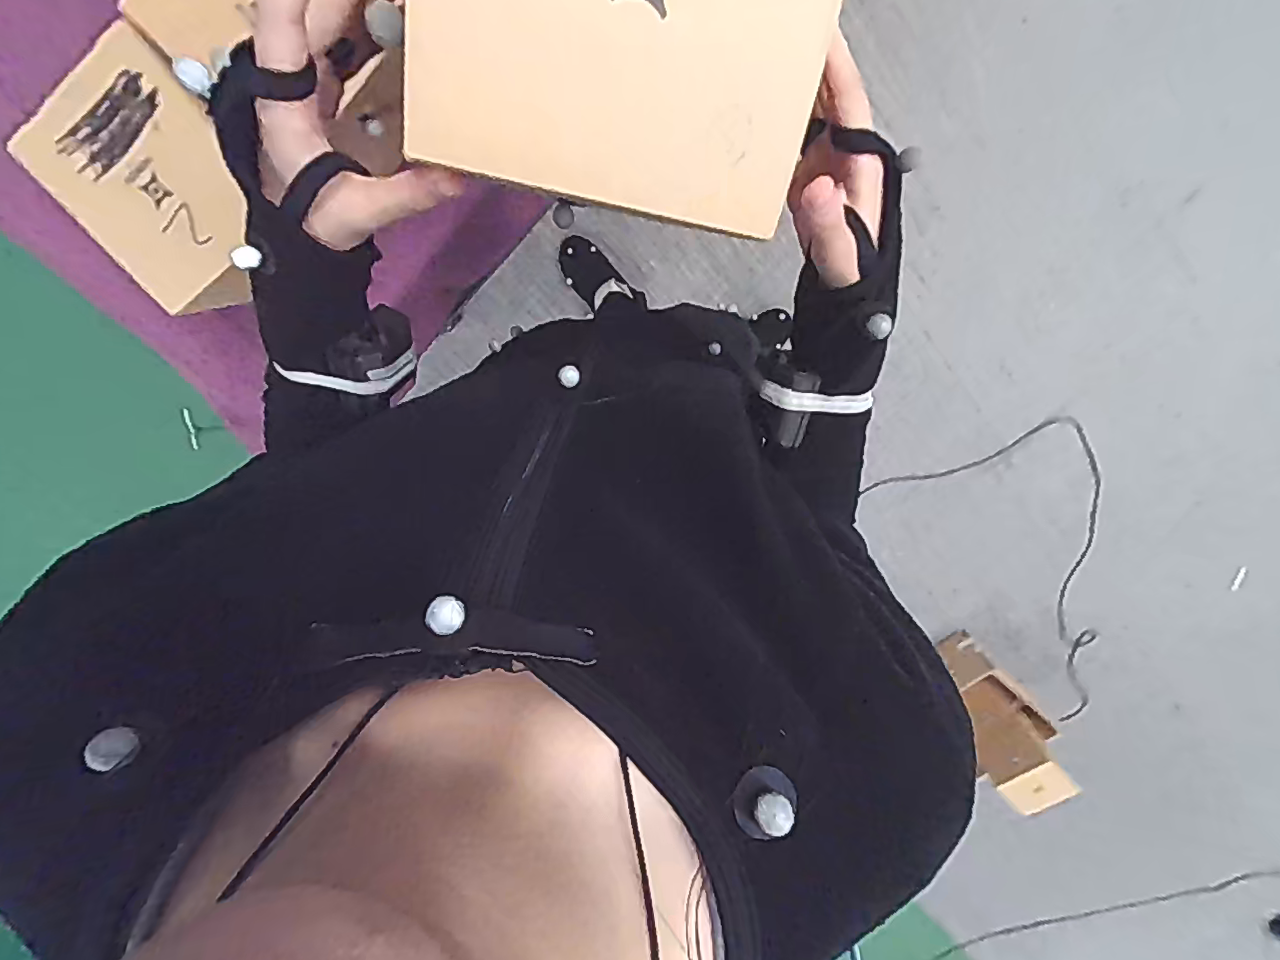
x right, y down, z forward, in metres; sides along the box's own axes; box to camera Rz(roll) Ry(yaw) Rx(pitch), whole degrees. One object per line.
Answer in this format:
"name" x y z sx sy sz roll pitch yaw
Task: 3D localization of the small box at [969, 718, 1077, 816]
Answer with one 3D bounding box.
"small box" 1.141 0.858 1.628 0.179 0.176 0.168 -42 105 19
